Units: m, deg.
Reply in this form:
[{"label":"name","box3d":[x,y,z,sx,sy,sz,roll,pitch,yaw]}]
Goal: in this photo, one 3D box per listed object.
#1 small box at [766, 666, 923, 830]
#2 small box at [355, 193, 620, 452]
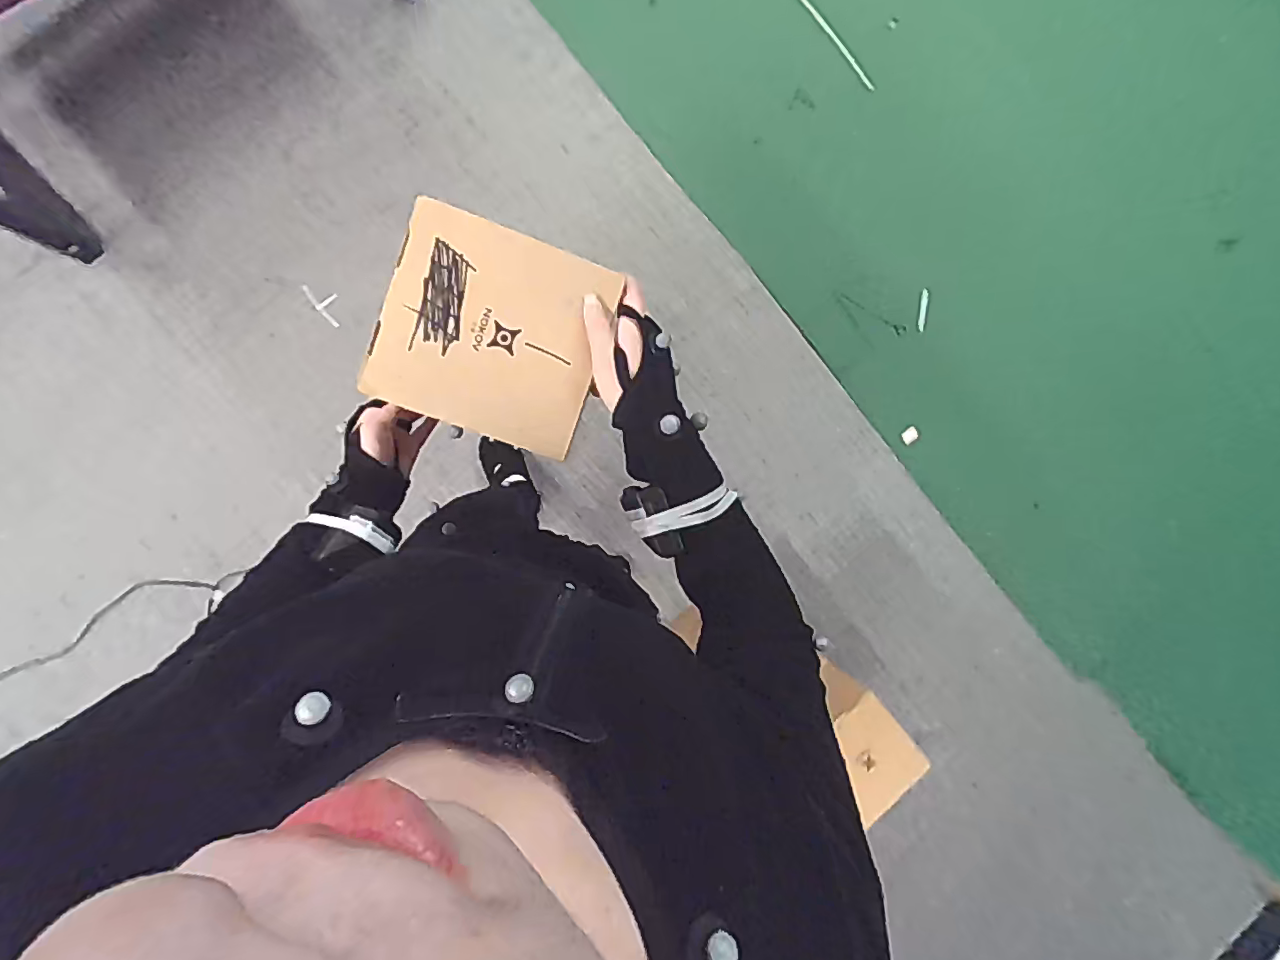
[{"label":"small box","box3d":[0.365,0.478,0.995,0.168,0.176,0.179,-38,93,-5]},{"label":"small box","box3d":[-0.133,-0.132,0.521,0.179,0.176,0.168,19,94,-9]}]
